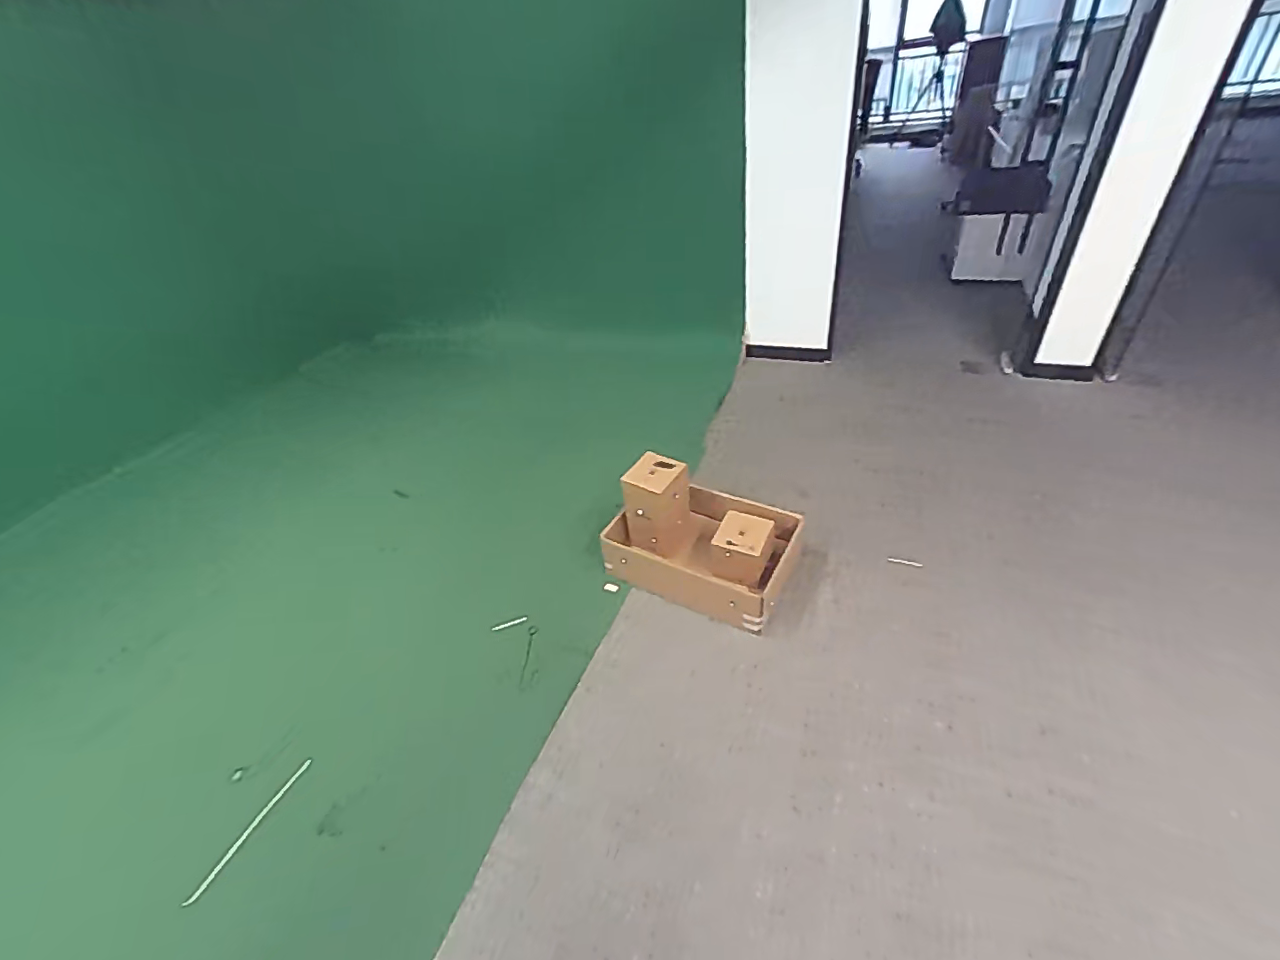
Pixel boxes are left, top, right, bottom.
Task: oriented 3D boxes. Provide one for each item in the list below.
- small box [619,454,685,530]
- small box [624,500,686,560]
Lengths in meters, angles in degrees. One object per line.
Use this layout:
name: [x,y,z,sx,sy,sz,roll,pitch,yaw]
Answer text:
small box: [0.047,0.042,1.895,0.168,0.176,0.179,20,48,29]
small box: [0.063,0.166,2.002,0.168,0.176,0.179,19,46,28]
